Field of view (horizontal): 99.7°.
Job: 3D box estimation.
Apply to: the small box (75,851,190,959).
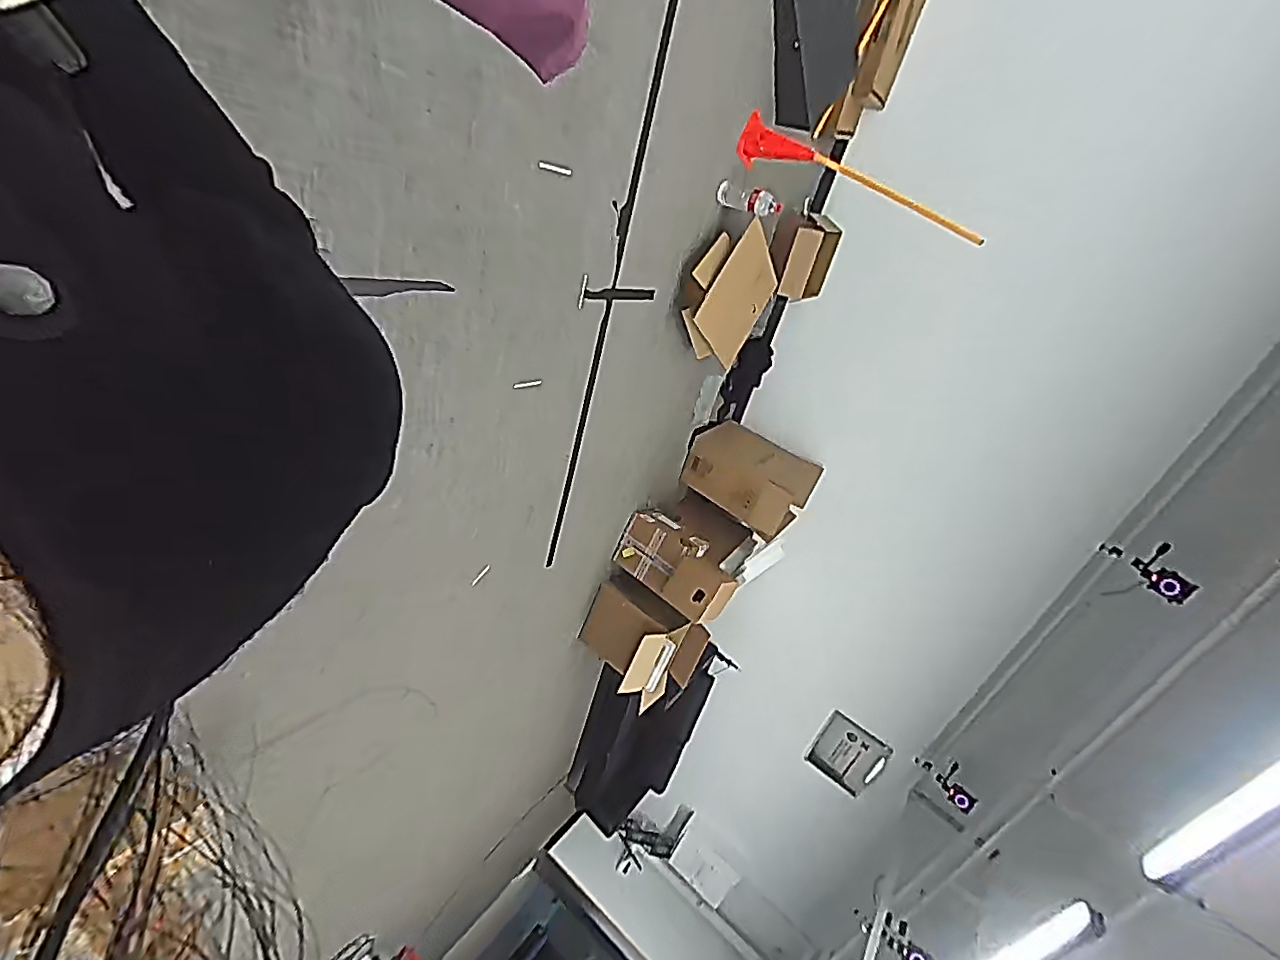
[{"bbox_3d":[-1.368,1.161,1.461,0.179,0.176,0.168,-24,138,-49],"label":"small box"}]
